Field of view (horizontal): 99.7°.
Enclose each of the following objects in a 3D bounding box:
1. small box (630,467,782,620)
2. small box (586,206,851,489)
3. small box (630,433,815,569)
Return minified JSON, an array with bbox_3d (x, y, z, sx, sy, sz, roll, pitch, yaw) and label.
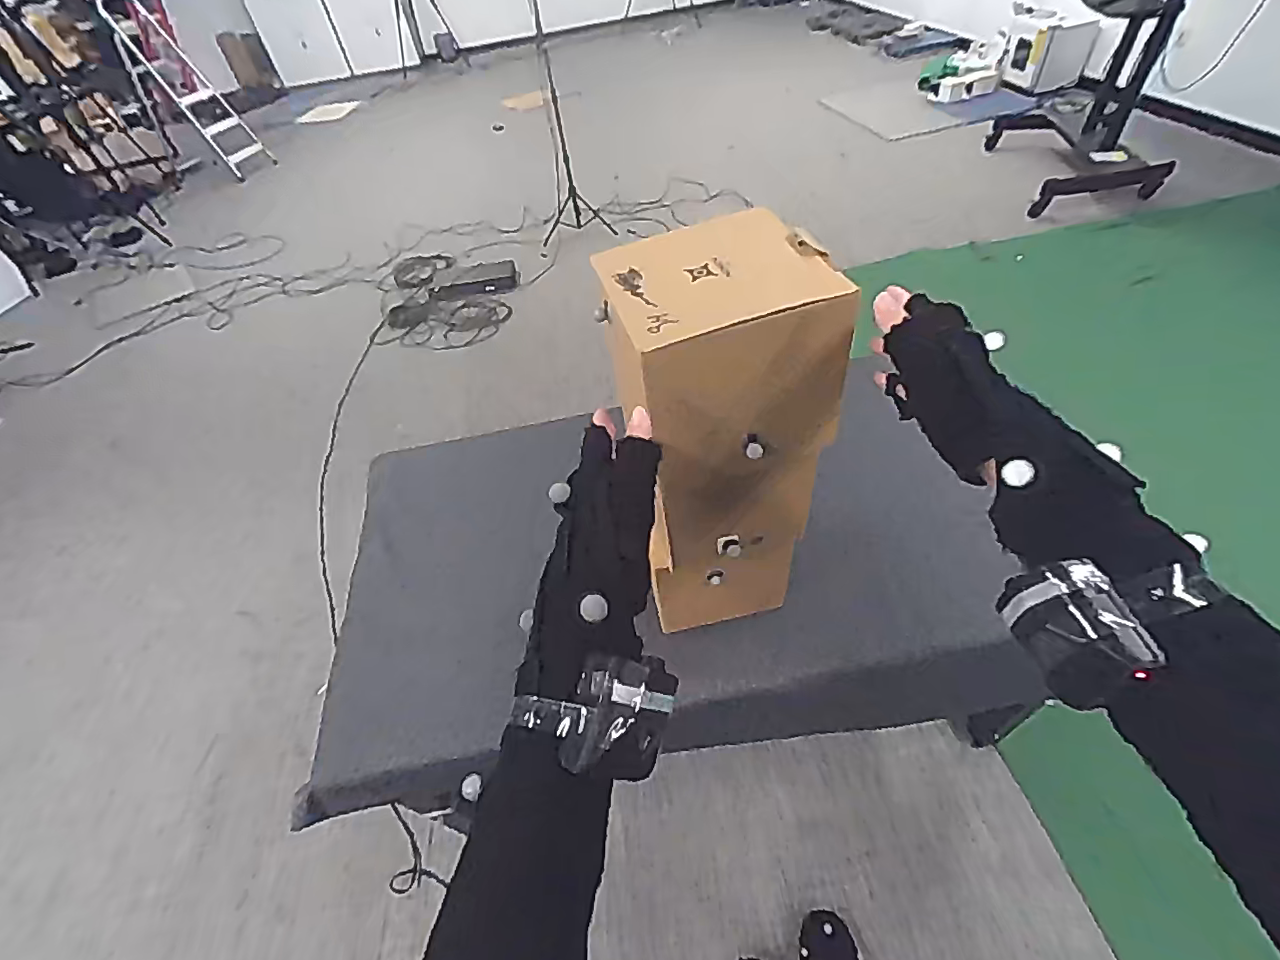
[{"bbox_3d":[0.093,0.077,0.760,0.179,0.176,0.168,-12,49,-2],"label":"small box"},{"bbox_3d":[0.063,-0.120,0.500,0.179,0.176,0.168,-17,48,-4],"label":"small box"},{"bbox_3d":[0.083,-0.026,0.636,0.168,0.176,0.179,-17,50,-3],"label":"small box"}]
